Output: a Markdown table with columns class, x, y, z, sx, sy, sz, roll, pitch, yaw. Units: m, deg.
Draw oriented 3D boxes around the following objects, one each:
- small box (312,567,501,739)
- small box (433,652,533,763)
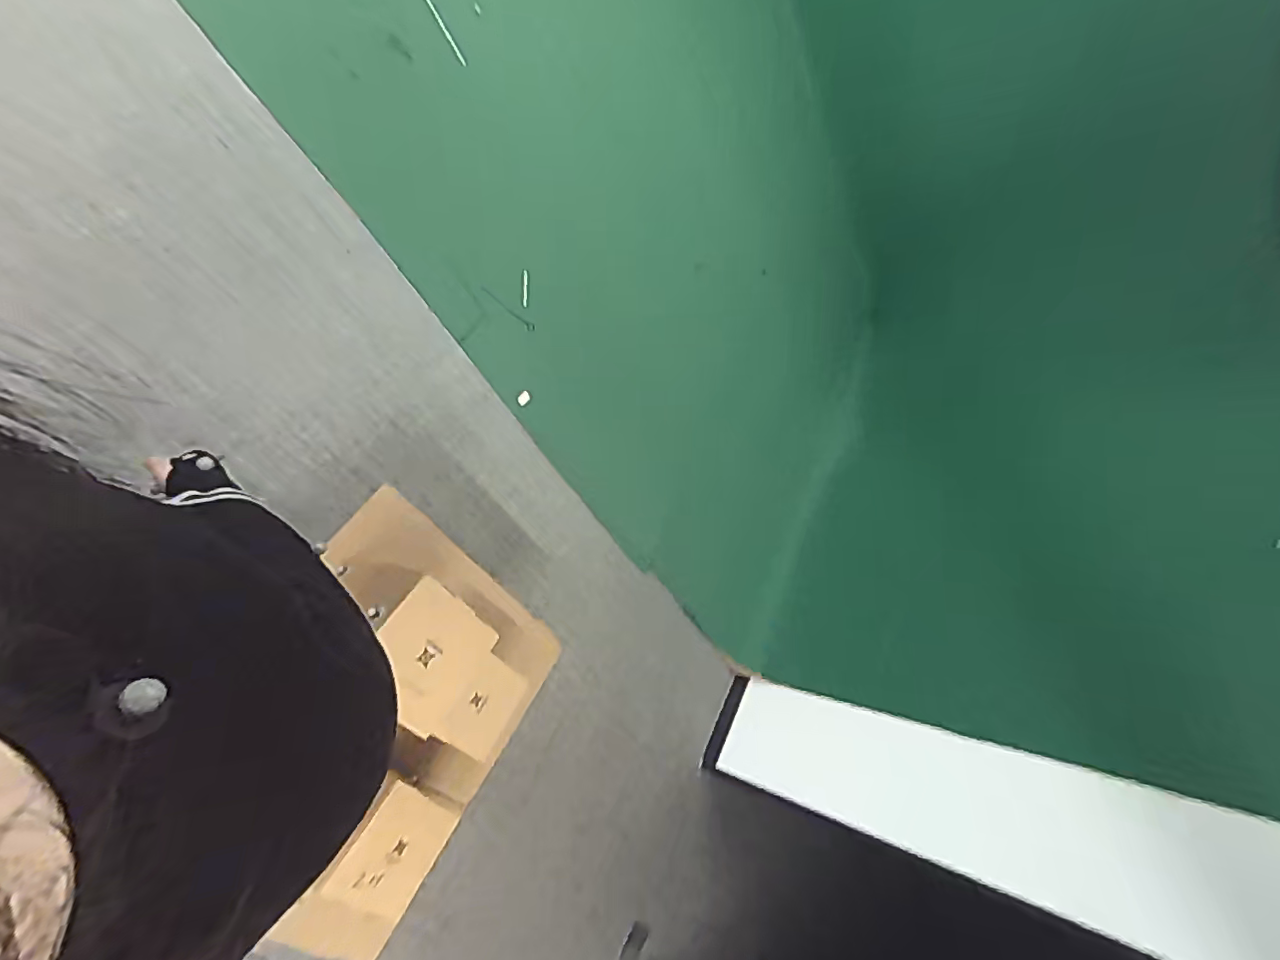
| class | x | y | z | sx | sy | sz | roll | pitch | yaw |
| --- | --- | --- | --- | --- | --- | --- | --- | --- | --- |
| small box | -0.356 | 0.250 | 0.824 | 0.168 | 0.176 | 0.179 | 55 | 54 | -29 |
| small box | -0.353 | 0.416 | 1.061 | 0.179 | 0.176 | 0.168 | 54 | 53 | -33 |
